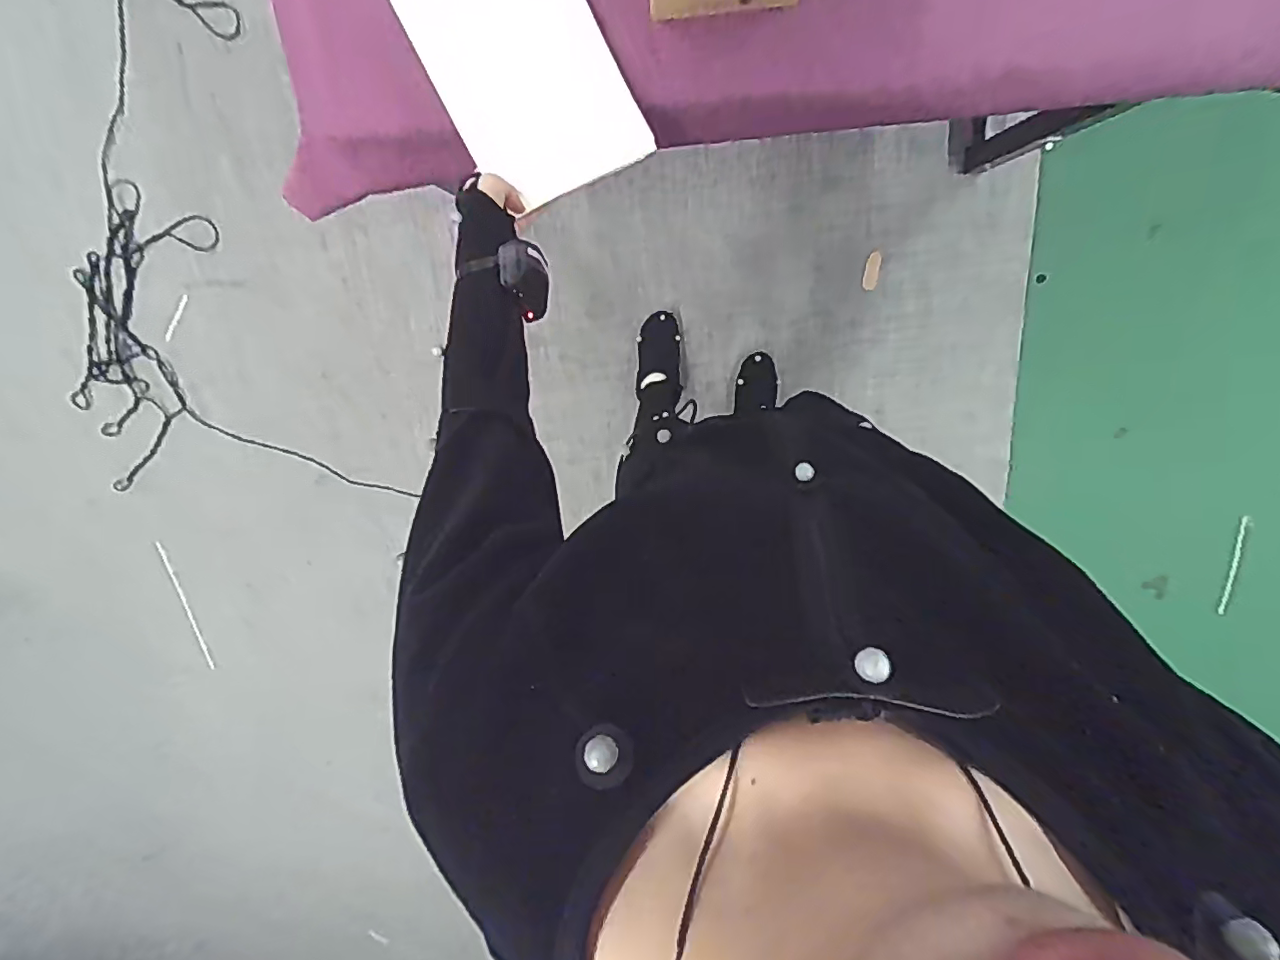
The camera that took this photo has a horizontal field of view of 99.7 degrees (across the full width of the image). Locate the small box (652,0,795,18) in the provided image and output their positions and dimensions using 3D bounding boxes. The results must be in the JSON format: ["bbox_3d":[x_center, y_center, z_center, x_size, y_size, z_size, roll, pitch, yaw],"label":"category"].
[{"bbox_3d":[0.086,-0.580,0.513,0.168,0.176,0.179,-3,107,3],"label":"small box"}]
